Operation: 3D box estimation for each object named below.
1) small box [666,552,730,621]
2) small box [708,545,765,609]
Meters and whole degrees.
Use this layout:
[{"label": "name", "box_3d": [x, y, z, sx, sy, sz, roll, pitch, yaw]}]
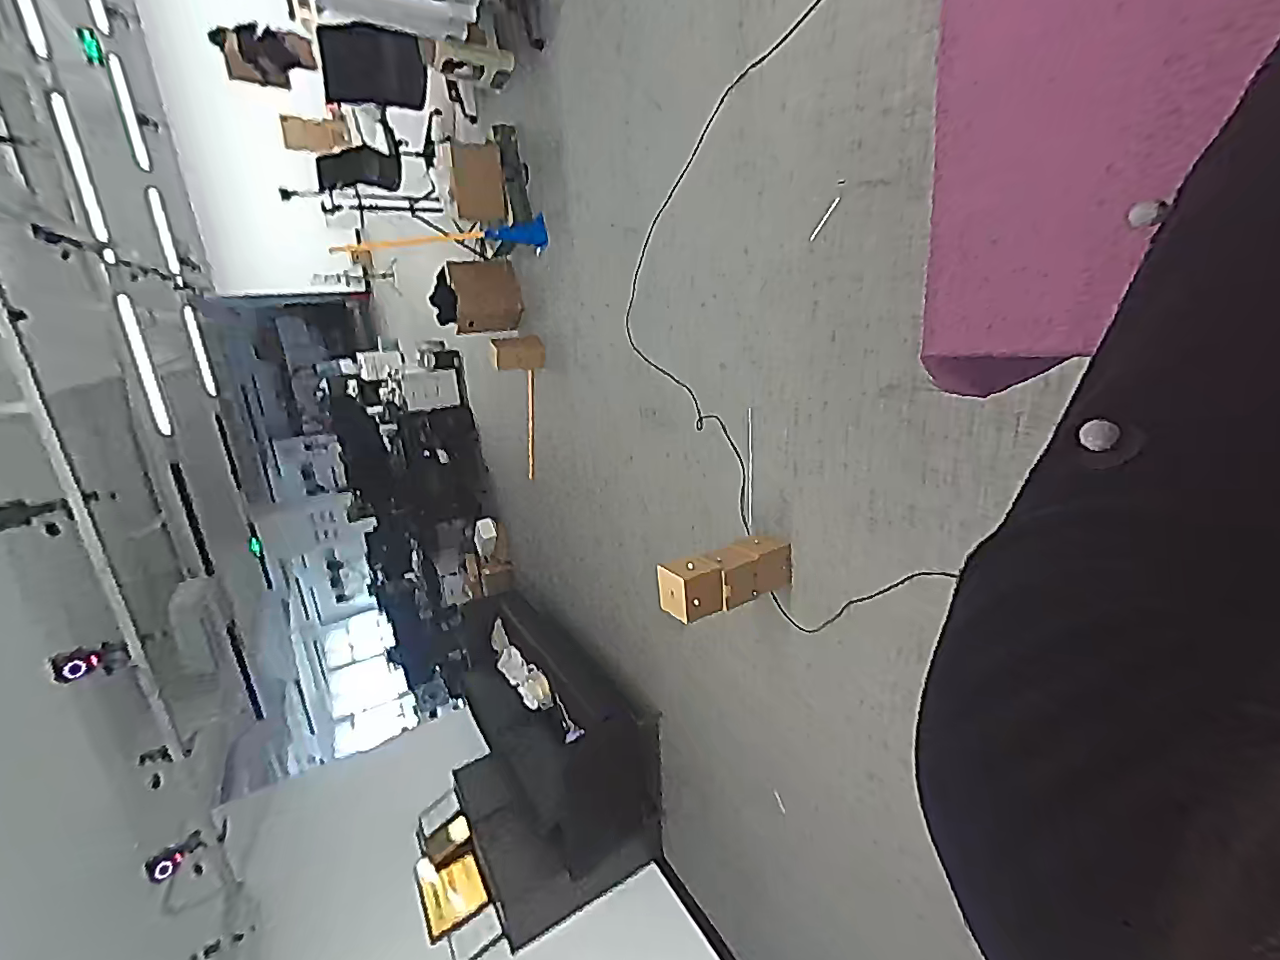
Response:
[{"label": "small box", "box_3d": [0.213, 0.379, 1.967, 0.168, 0.176, 0.179, 20, 120, 57]}, {"label": "small box", "box_3d": [0.357, 0.359, 2.042, 0.179, 0.176, 0.168, 20, 119, 58]}]
